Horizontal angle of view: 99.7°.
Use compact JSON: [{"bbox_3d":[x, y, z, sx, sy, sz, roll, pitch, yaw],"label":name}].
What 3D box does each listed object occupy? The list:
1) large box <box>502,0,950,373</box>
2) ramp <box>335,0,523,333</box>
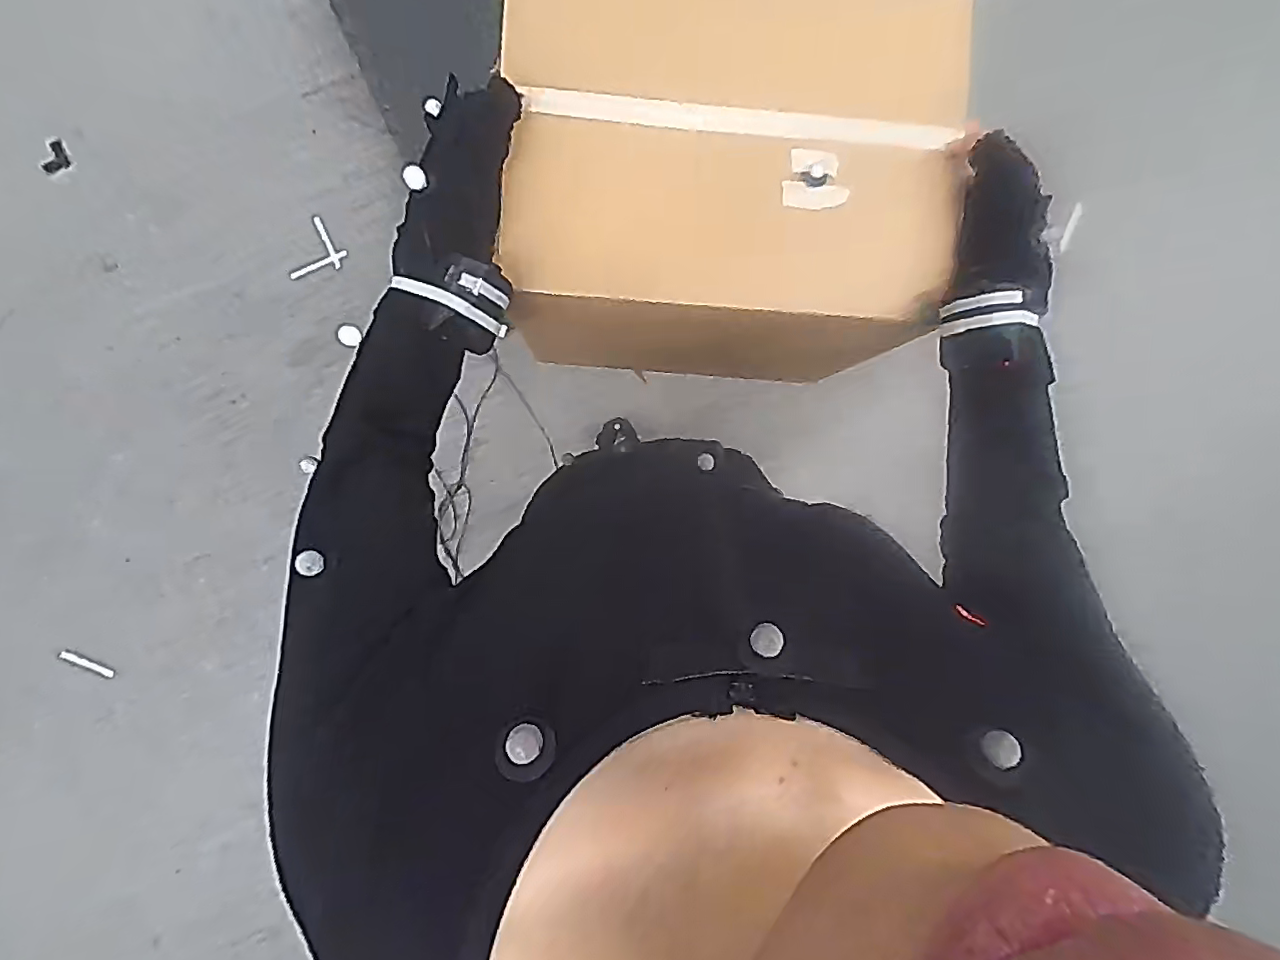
[{"bbox_3d":[0.069,-0.313,0.628,0.408,0.320,0.320,3,90,-4],"label":"large box"},{"bbox_3d":[-0.360,-0.928,1.327,0.509,0.206,0.991,-26,94,-3],"label":"ramp"}]
